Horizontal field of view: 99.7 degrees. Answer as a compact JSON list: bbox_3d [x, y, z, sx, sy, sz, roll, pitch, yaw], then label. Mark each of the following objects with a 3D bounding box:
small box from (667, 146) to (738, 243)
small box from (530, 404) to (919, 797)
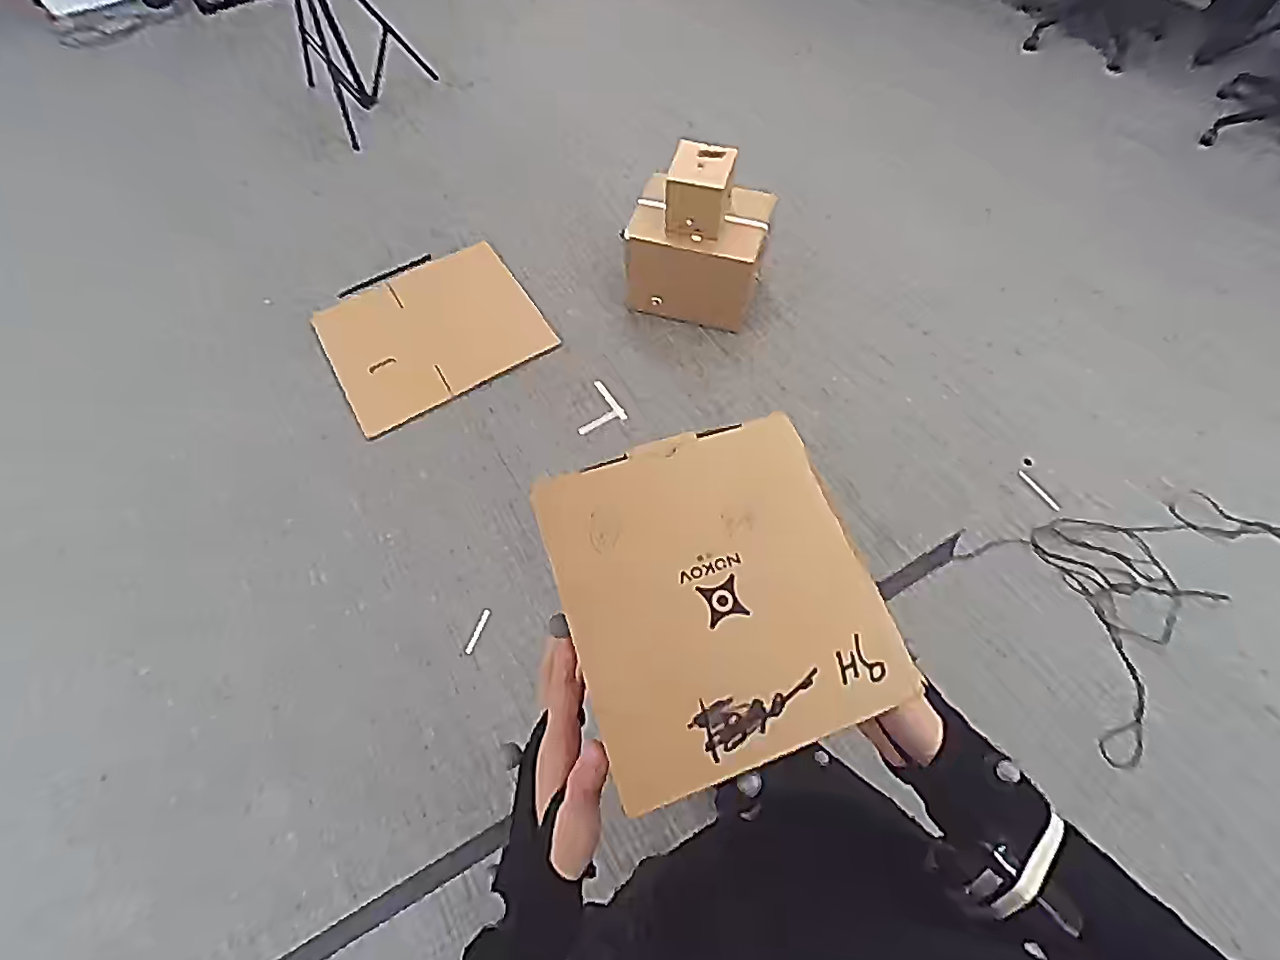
[{"bbox_3d":[0.177,-0.830,1.577,0.168,0.176,0.179,15,66,10],"label":"small box"},{"bbox_3d":[0.035,0.081,0.365,0.168,0.176,0.179,-18,70,-10],"label":"small box"}]
